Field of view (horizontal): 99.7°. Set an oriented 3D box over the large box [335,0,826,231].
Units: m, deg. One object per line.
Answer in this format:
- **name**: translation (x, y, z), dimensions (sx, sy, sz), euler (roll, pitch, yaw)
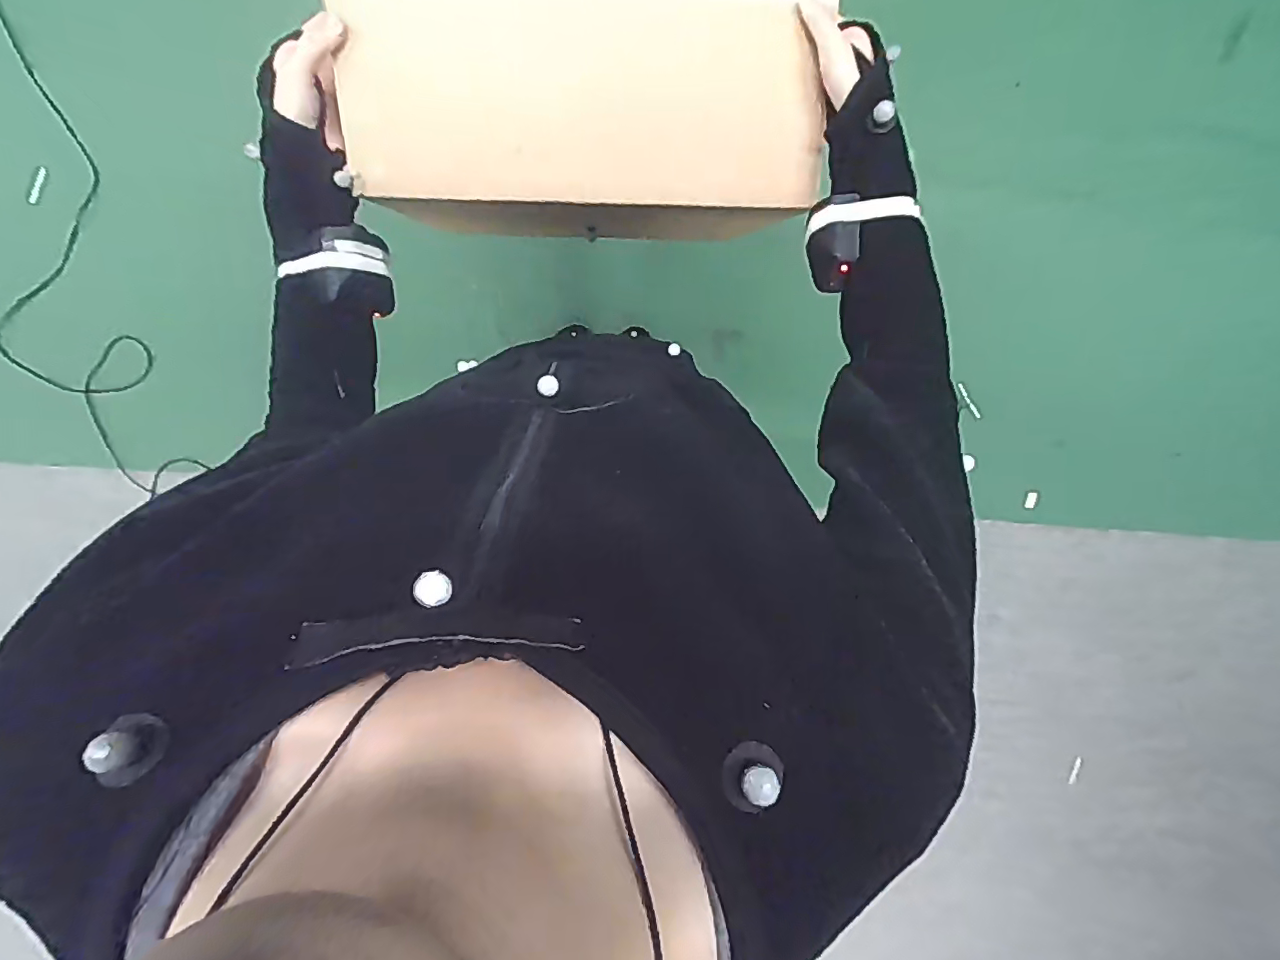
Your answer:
- **large box**: translation (-0.054, -0.442, 0.572), dimensions (0.408, 0.320, 0.320), euler (-2, 109, -6)
